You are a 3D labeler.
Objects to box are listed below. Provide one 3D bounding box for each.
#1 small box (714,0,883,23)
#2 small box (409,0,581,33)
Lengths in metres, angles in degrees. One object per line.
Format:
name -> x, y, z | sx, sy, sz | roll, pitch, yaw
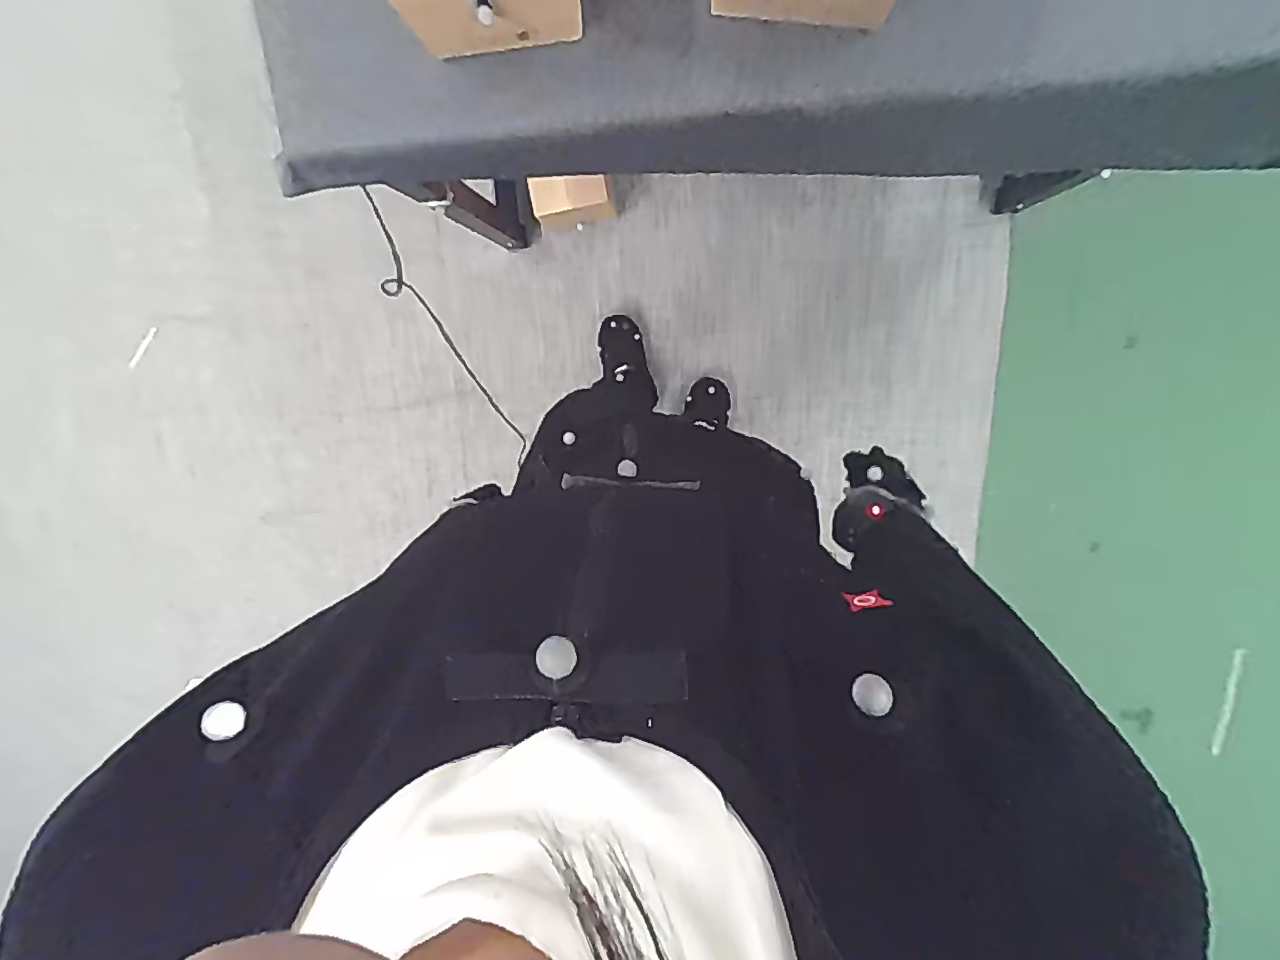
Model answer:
small box -> 0.162, -0.537, 0.464 | 0.179, 0.176, 0.168 | 9, 103, 4
small box -> -0.153, -0.545, 0.488 | 0.168, 0.176, 0.179 | -2, 103, 6
